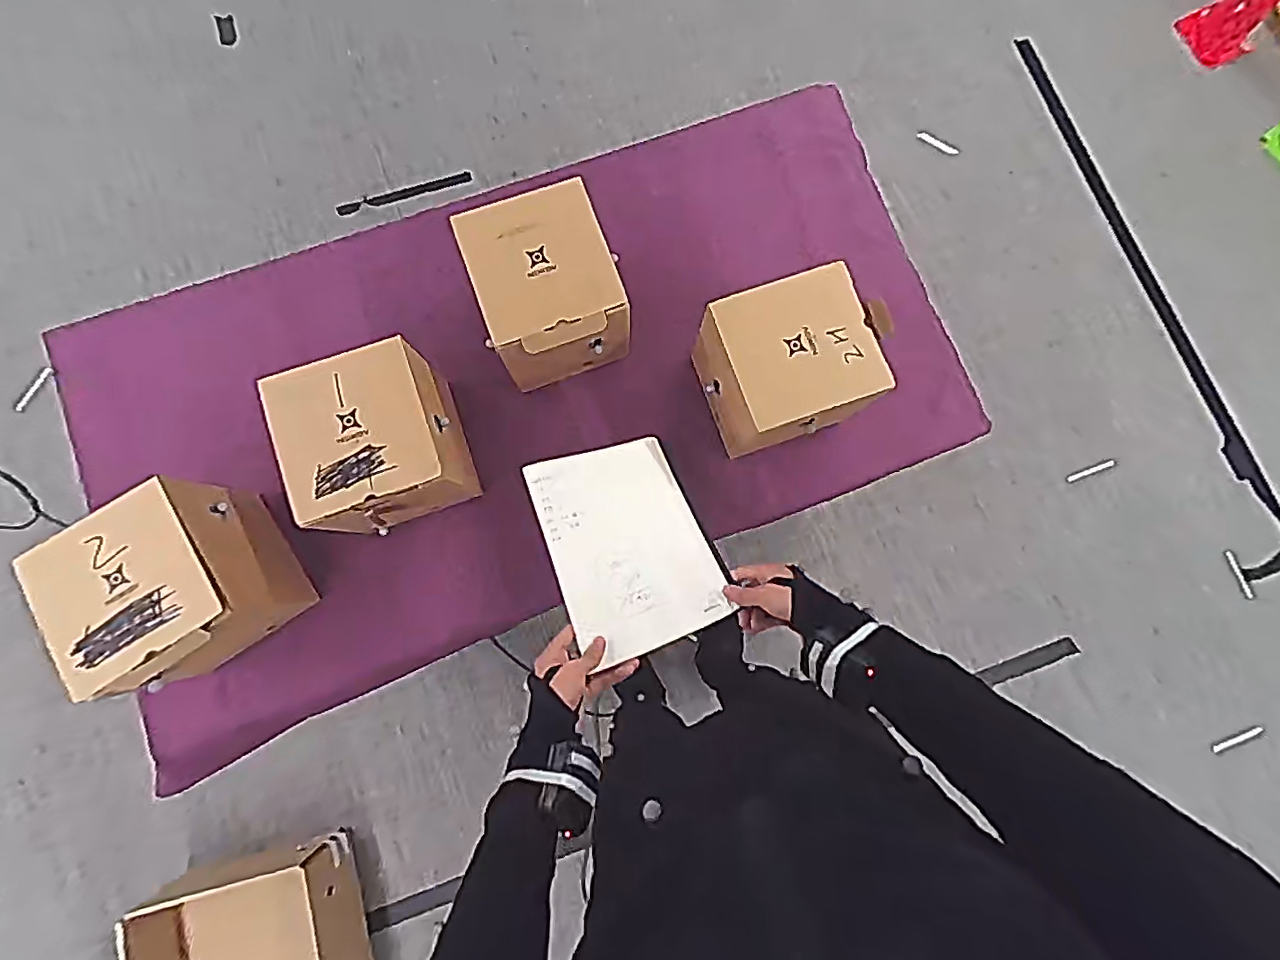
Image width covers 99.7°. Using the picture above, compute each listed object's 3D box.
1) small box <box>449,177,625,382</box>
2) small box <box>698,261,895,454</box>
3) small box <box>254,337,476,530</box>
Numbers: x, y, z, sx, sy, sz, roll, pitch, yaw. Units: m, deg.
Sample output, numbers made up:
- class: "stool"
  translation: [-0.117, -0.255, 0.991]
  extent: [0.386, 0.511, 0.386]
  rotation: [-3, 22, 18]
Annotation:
- class: "small box"
  translation: [-0.121, -0.243, 0.703]
  extent: [0.168, 0.176, 0.179]
  rotation: [-20, 83, -5]
- class: "small box"
  translation: [0.182, -0.144, 0.696]
  extent: [0.179, 0.176, 0.168]
  rotation: [-19, 83, -4]
- class: "small box"
  translation: [-0.321, -0.044, 0.667]
  extent: [0.168, 0.176, 0.179]
  rotation: [-19, 82, -5]
